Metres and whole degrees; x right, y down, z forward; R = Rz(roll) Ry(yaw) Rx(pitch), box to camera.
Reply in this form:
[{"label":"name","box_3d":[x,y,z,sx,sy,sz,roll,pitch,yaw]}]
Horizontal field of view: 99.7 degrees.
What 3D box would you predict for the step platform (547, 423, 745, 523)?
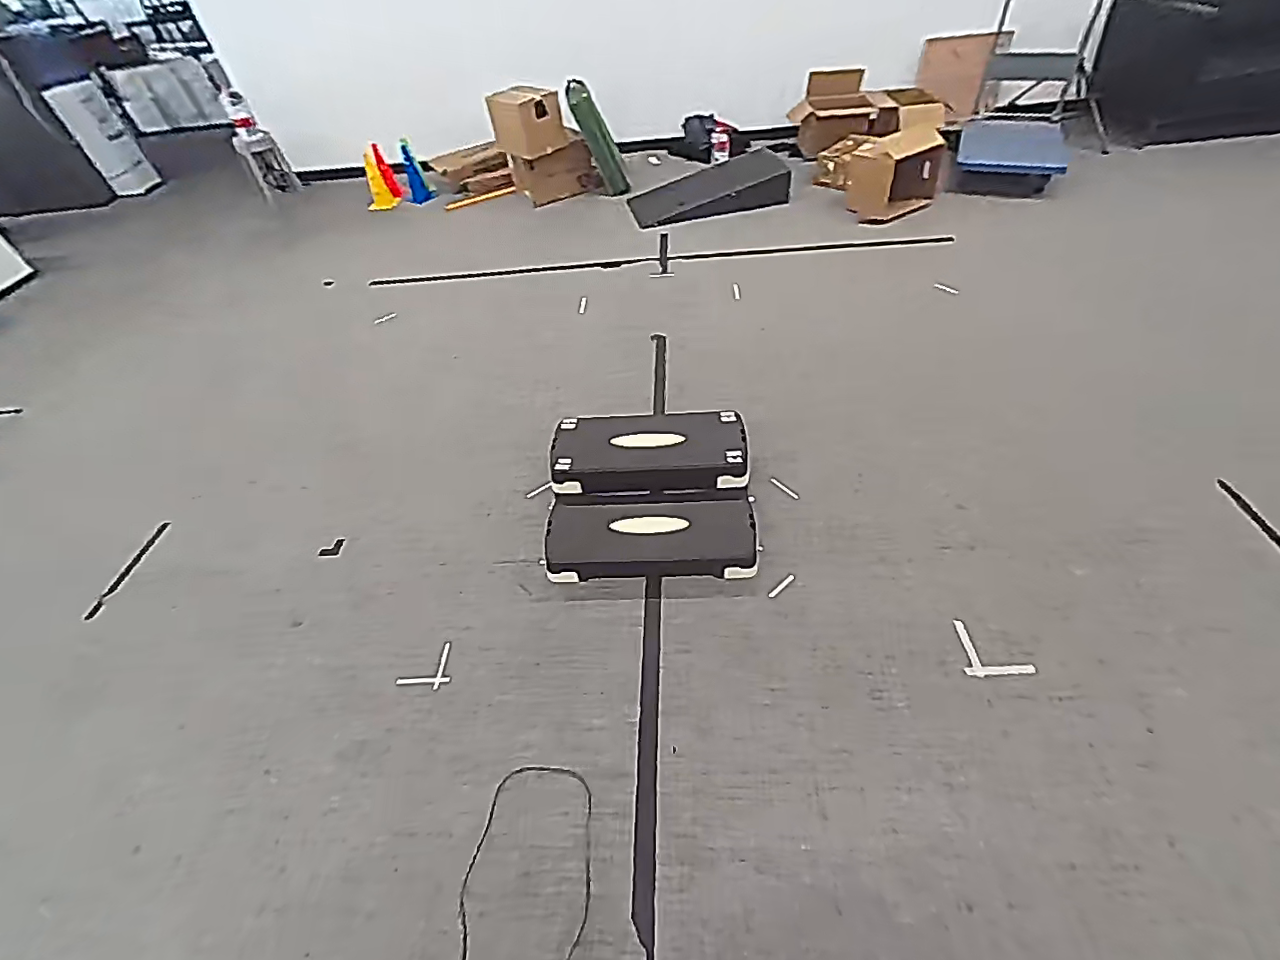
[{"label":"step platform","box_3d":[0.020,-0.030,1.892,0.684,0.204,0.286,-2,48,4]}]
